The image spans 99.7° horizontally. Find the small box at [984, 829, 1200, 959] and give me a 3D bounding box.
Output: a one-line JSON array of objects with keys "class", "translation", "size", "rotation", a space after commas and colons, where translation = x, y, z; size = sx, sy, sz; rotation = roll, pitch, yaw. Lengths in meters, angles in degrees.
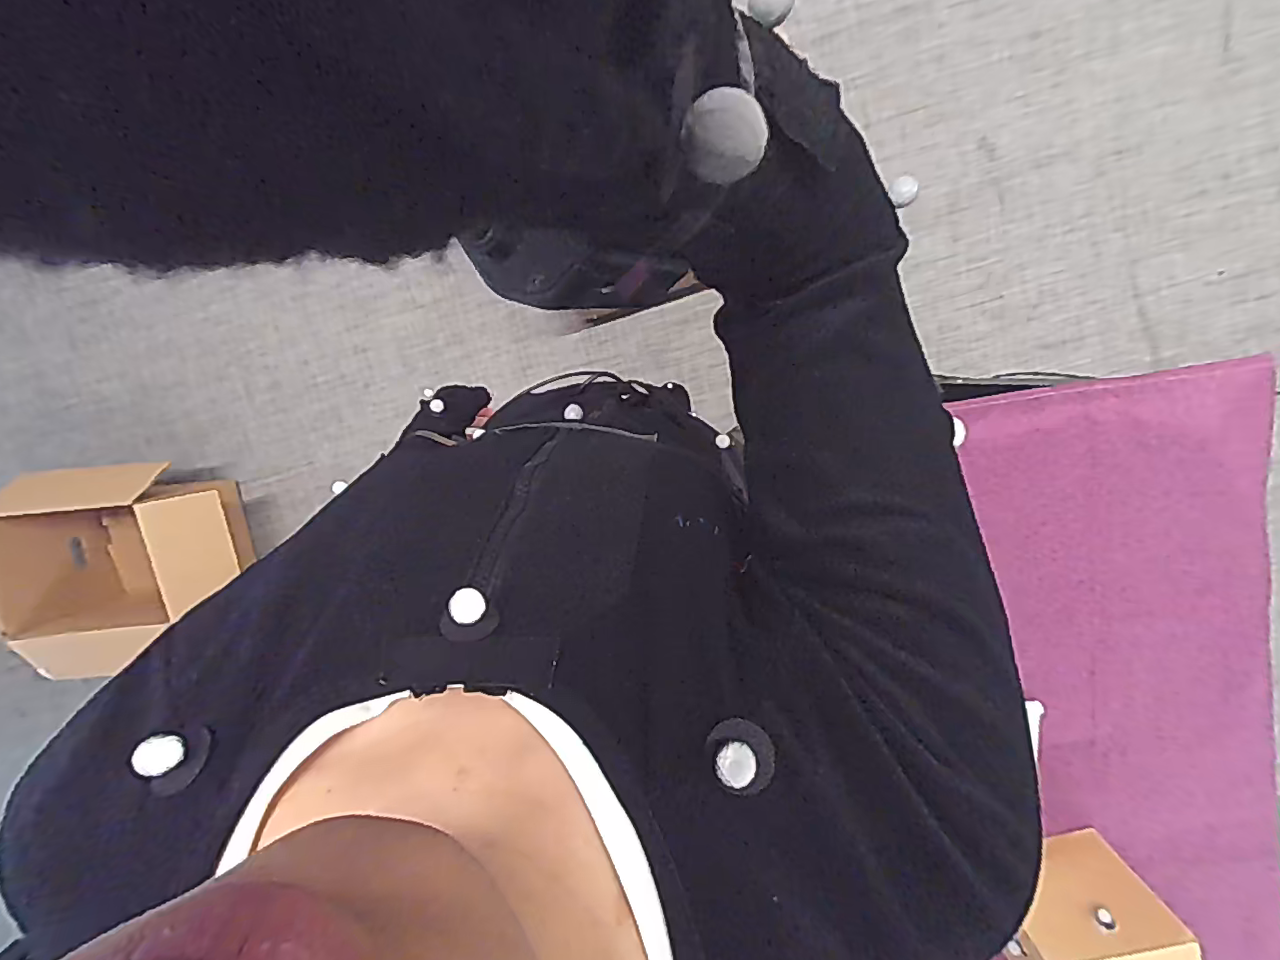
[{"class": "small box", "translation": [0.606, 0.625, 0.741], "size": [0.179, 0.176, 0.168], "rotation": [-17, 99, 4]}]
